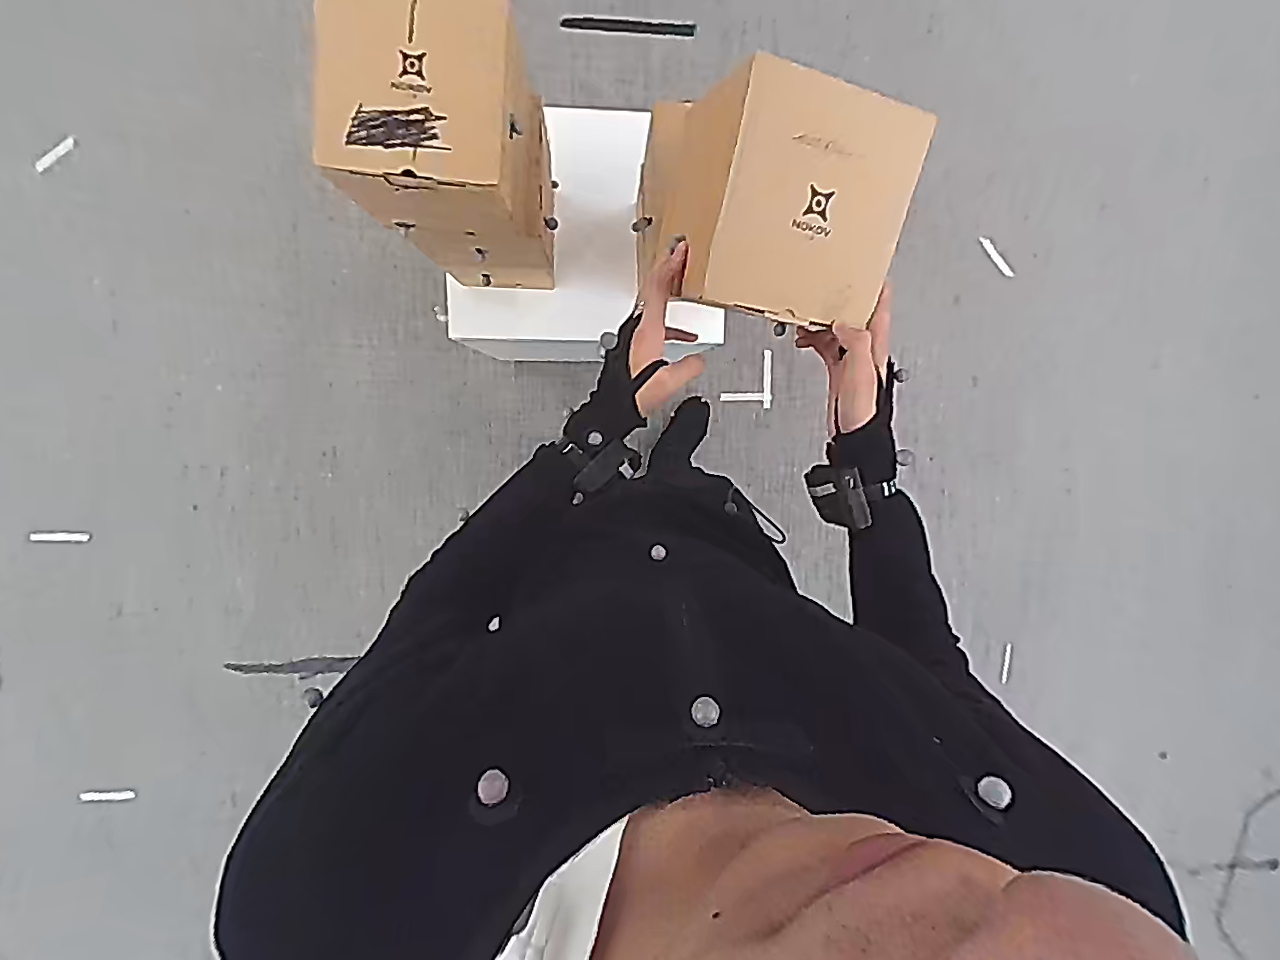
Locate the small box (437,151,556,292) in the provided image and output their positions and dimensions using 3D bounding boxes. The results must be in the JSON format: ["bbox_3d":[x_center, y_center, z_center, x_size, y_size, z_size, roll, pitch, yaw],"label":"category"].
[{"bbox_3d":[-0.226,-0.413,0.883,0.168,0.176,0.179,1,98,-5],"label":"small box"}]

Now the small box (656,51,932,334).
[{"bbox_3d":[0.123,-0.246,0.507,0.168,0.176,0.179,5,108,-17],"label":"small box"}]

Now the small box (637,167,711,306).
[{"bbox_3d":[0.081,-0.399,0.908,0.168,0.176,0.179,-2,98,-3],"label":"small box"}]

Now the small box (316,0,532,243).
[{"bbox_3d":[-0.206,-0.362,0.558,0.168,0.176,0.179,4,96,-5],"label":"small box"}]

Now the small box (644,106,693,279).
[{"bbox_3d":[0.094,-0.376,0.745,0.168,0.176,0.179,-1,98,-4],"label":"small box"}]
